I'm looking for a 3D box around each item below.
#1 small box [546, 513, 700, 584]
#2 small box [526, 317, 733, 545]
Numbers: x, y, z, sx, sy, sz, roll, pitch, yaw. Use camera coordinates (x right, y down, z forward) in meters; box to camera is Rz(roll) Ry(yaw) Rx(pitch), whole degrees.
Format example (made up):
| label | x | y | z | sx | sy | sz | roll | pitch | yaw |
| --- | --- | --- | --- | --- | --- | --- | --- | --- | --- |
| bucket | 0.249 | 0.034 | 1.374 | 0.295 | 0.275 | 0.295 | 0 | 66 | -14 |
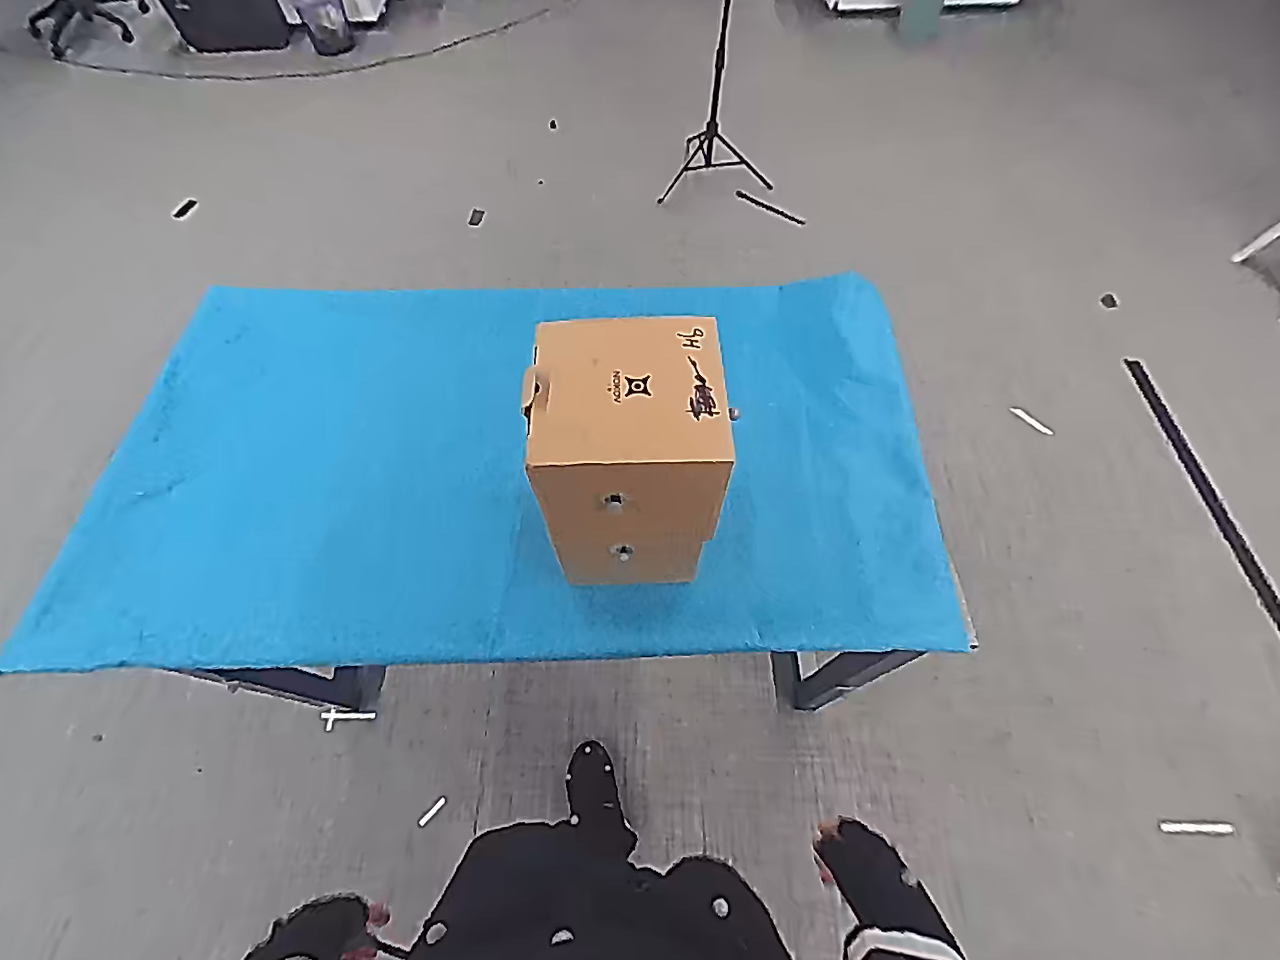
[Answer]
| label | x | y | z | sx | sy | sz | roll | pitch | yaw |
| --- | --- | --- | --- | --- | --- | --- | --- | --- | --- |
| small box | -0.014 | 0.032 | 0.698 | 0.179 | 0.176 | 0.168 | -1 | 61 | 1 |
| small box | -0.011 | -0.042 | 0.553 | 0.179 | 0.176 | 0.168 | -4 | 61 | -1 |
